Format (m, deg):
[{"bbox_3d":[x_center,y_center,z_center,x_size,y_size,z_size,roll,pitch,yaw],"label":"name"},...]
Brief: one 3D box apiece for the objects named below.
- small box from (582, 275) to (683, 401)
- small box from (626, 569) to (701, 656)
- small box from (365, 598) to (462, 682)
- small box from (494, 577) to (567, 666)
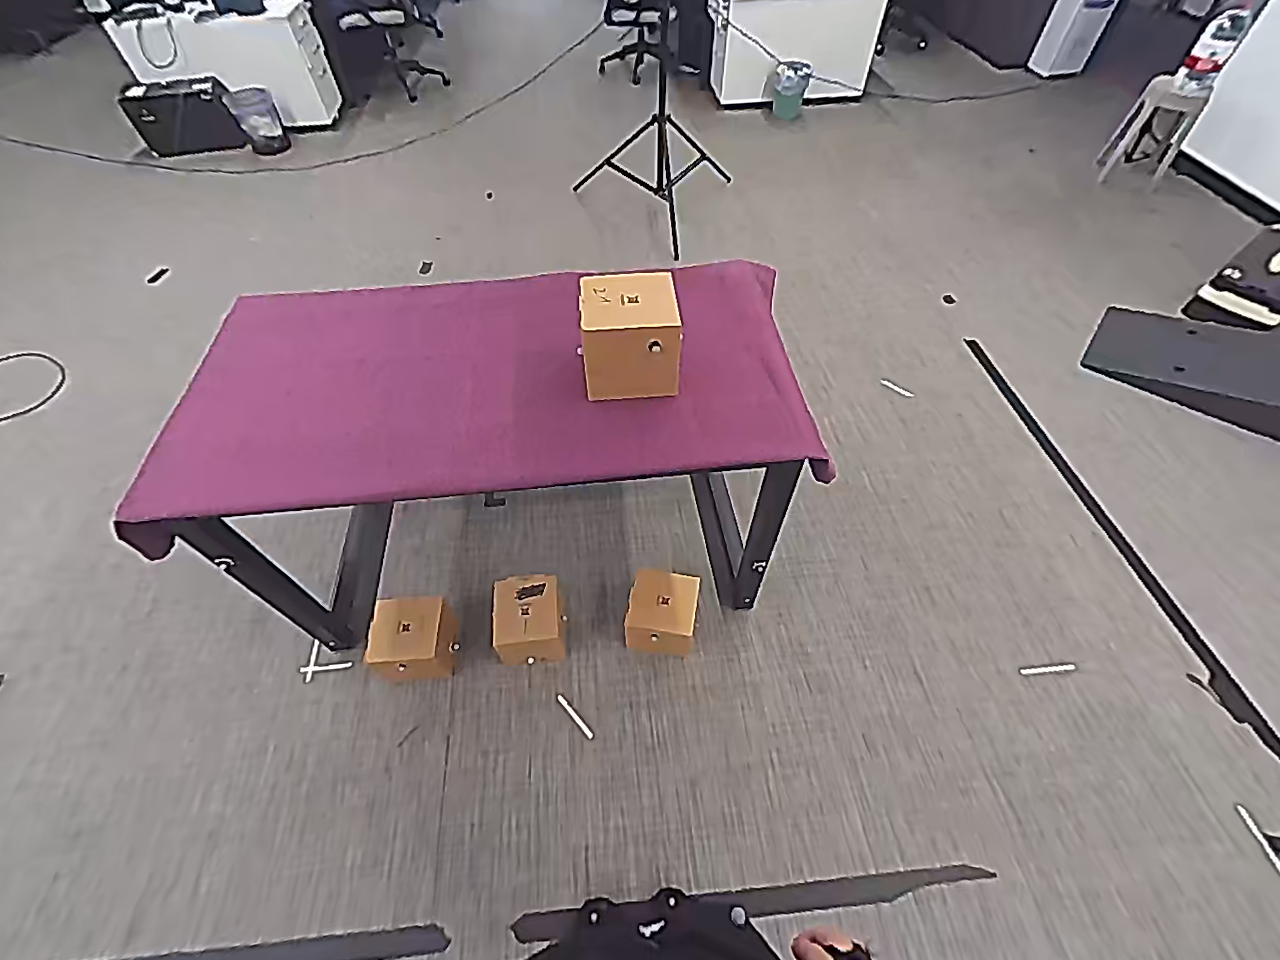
[{"bbox_3d":[-0.016,-0.268,1.033,0.179,0.176,0.168,-4,52,-1],"label":"small box"},{"bbox_3d":[0.066,0.365,1.471,0.179,0.176,0.168,8,54,8],"label":"small box"},{"bbox_3d":[-0.592,0.428,1.435,0.179,0.176,0.168,-3,54,-2],"label":"small box"},{"bbox_3d":[-0.290,0.384,1.460,0.168,0.176,0.179,-6,54,-3],"label":"small box"}]
